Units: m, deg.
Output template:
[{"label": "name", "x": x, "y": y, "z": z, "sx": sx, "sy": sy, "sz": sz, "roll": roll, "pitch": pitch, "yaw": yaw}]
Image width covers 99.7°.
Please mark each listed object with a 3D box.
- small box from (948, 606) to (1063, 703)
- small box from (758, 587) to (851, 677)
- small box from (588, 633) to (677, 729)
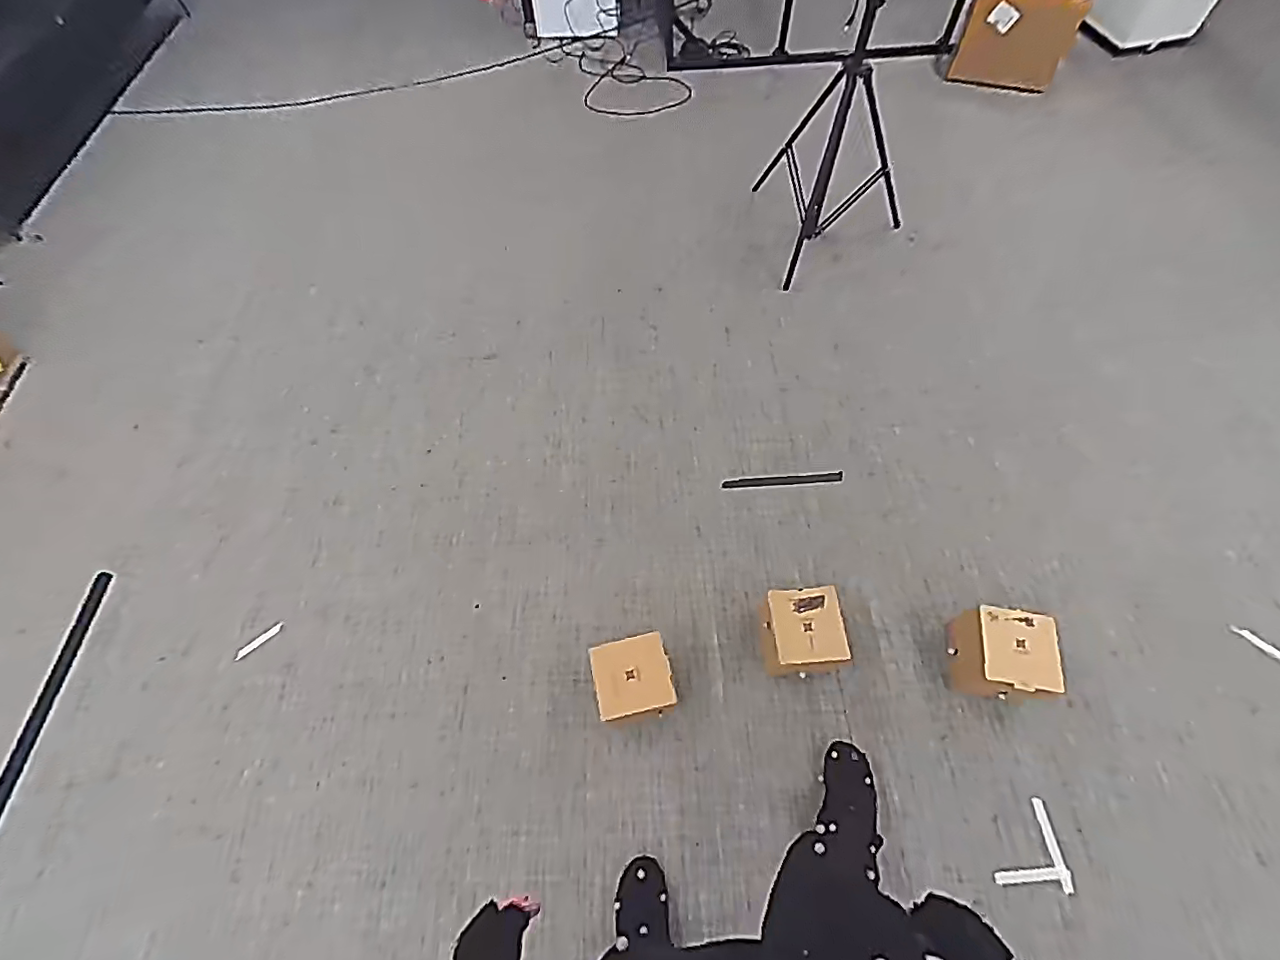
[{"label": "small box", "x": 0.858, "y": 0.420, "z": 1.286, "sx": 0.168, "sy": 0.176, "sz": 0.179, "roll": 10, "pitch": 63, "yaw": 8}, {"label": "small box", "x": 0.393, "y": 0.376, "z": 1.330, "sx": 0.168, "sy": 0.176, "sz": 0.179, "roll": -4, "pitch": 62, "yaw": 0}, {"label": "small box", "x": -0.015, "y": 0.484, "z": 1.294, "sx": 0.179, "sy": 0.176, "sz": 0.168, "roll": -14, "pitch": 60, "yaw": -4}]
